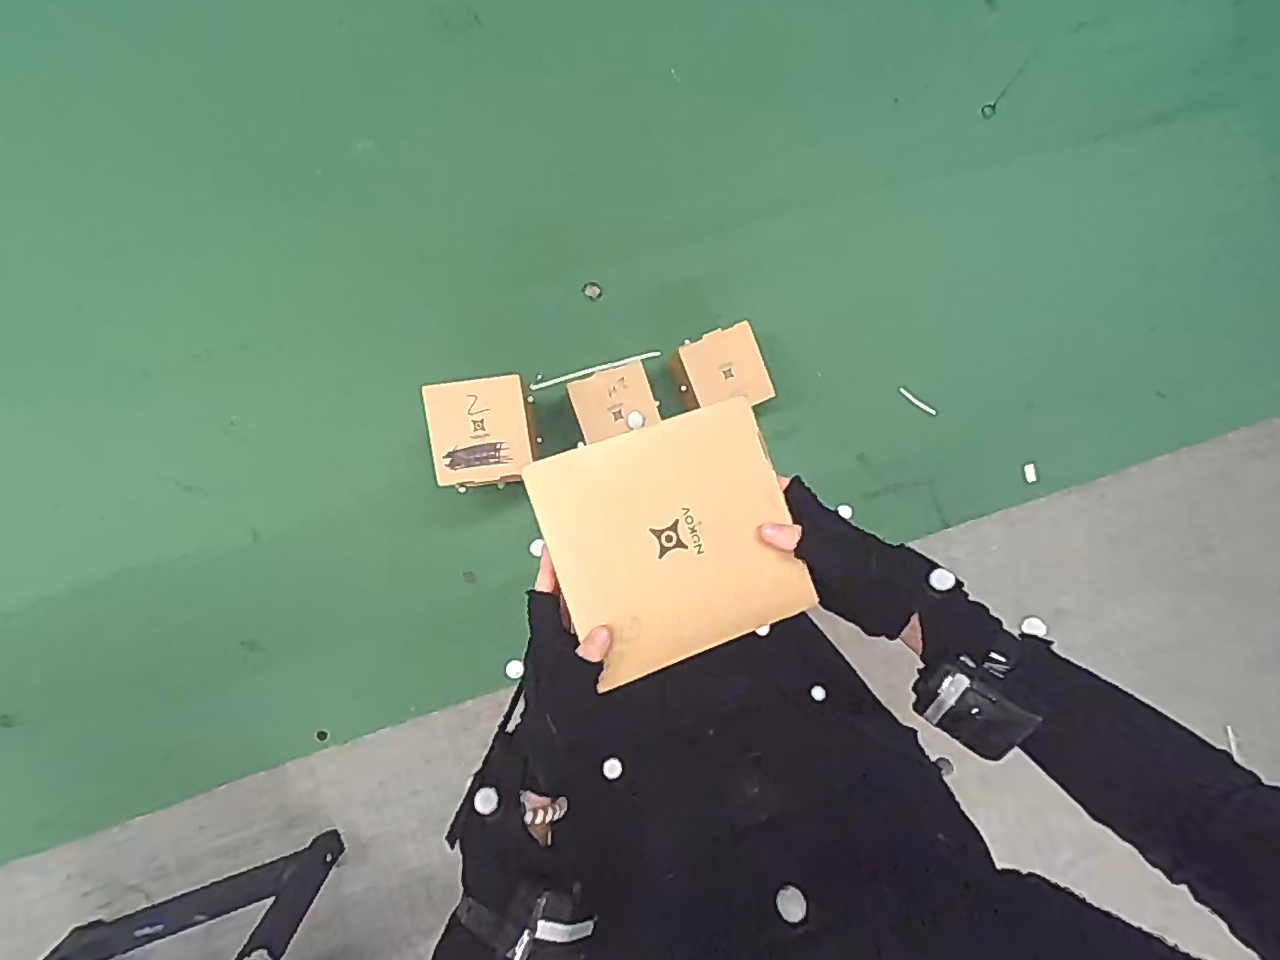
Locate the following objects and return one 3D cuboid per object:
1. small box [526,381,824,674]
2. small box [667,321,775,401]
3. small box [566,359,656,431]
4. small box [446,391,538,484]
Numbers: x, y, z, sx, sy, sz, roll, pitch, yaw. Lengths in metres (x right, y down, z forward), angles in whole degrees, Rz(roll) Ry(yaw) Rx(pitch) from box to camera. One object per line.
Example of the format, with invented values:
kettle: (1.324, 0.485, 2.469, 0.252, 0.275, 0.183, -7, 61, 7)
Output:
small box: (0.016, 0.037, 0.455, 0.179, 0.176, 0.168, -18, 88, -11)
small box: (0.174, -0.232, 1.219, 0.168, 0.176, 0.179, -22, 96, -6)
small box: (-0.058, -0.148, 1.190, 0.168, 0.176, 0.179, -19, 95, -7)
small box: (-0.307, -0.089, 1.158, 0.168, 0.176, 0.179, -6, 94, -7)
